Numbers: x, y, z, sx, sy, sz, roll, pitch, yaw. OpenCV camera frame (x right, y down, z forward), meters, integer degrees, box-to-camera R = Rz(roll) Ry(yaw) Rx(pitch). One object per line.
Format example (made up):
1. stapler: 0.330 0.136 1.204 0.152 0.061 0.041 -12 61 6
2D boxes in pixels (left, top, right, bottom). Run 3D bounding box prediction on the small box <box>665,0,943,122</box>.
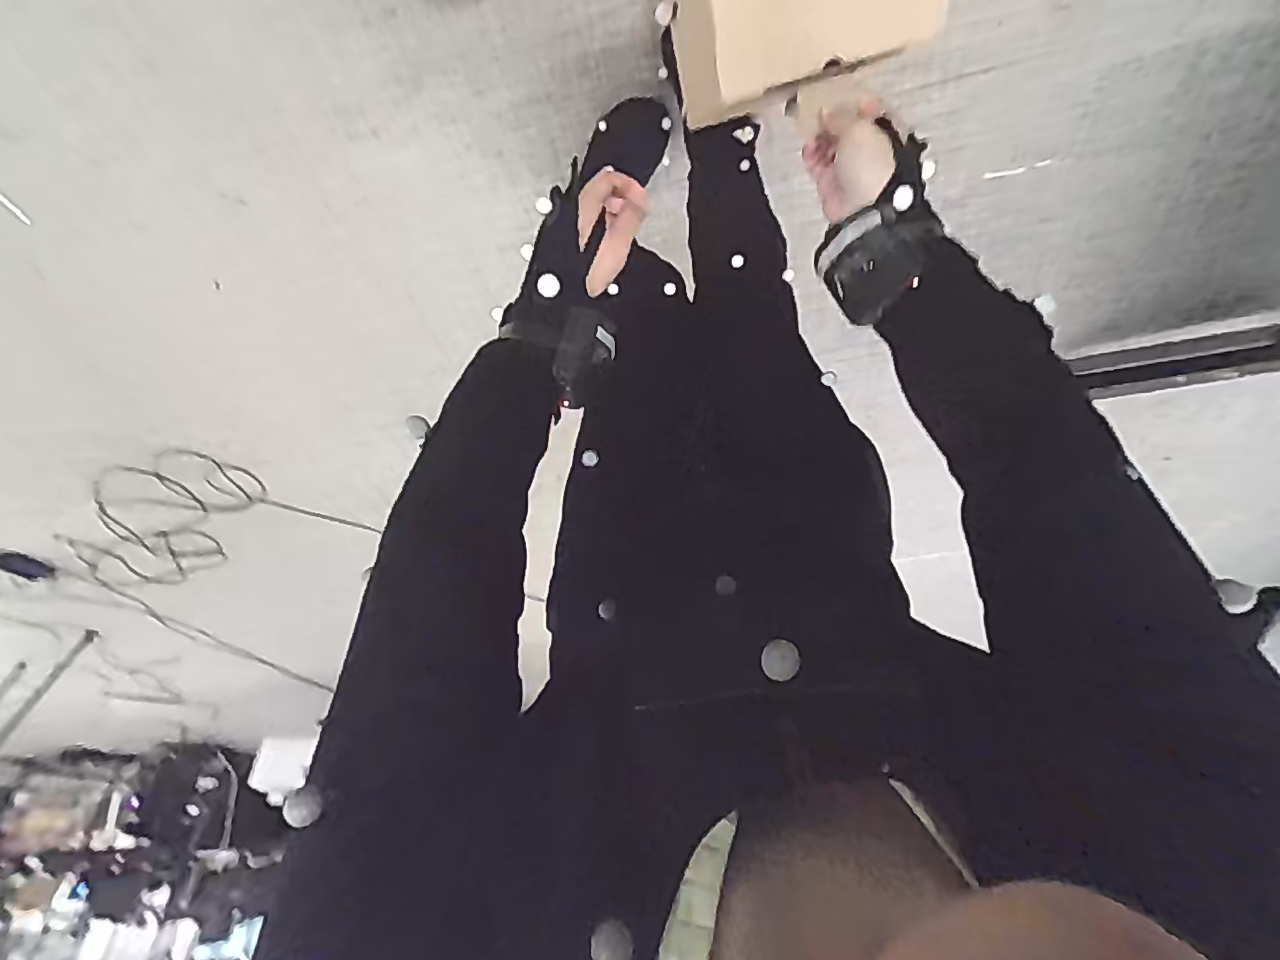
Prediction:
1. small box: 0.111 -0.397 0.418 0.168 0.176 0.179 -14 119 3
